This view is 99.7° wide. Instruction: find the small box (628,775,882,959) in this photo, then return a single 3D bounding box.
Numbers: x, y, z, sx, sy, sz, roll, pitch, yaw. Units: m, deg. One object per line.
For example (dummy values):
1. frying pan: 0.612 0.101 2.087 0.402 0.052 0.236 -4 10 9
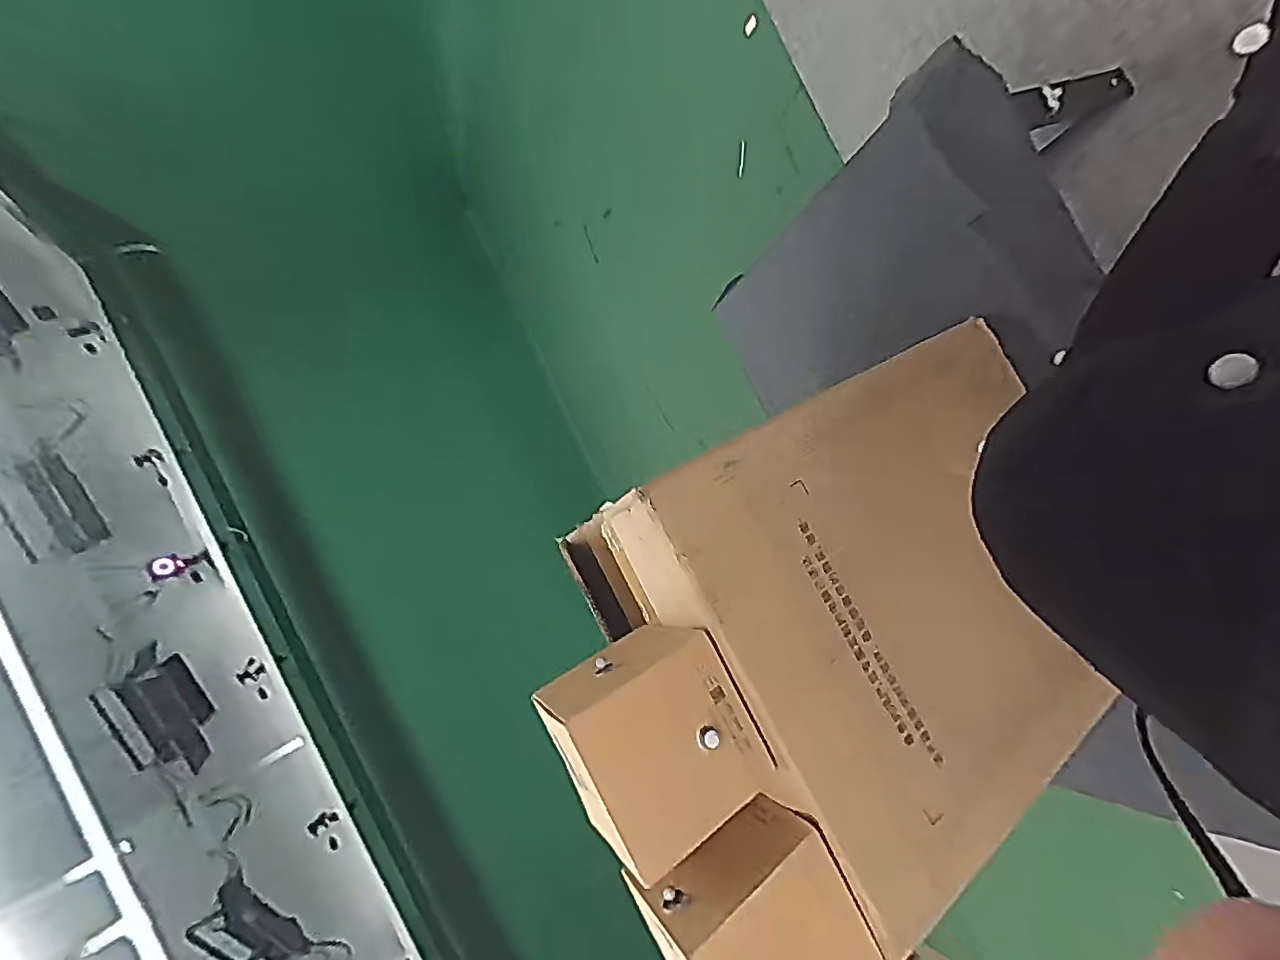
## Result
1. small box: 0.121 0.466 0.579 0.179 0.176 0.168 62 154 -1
